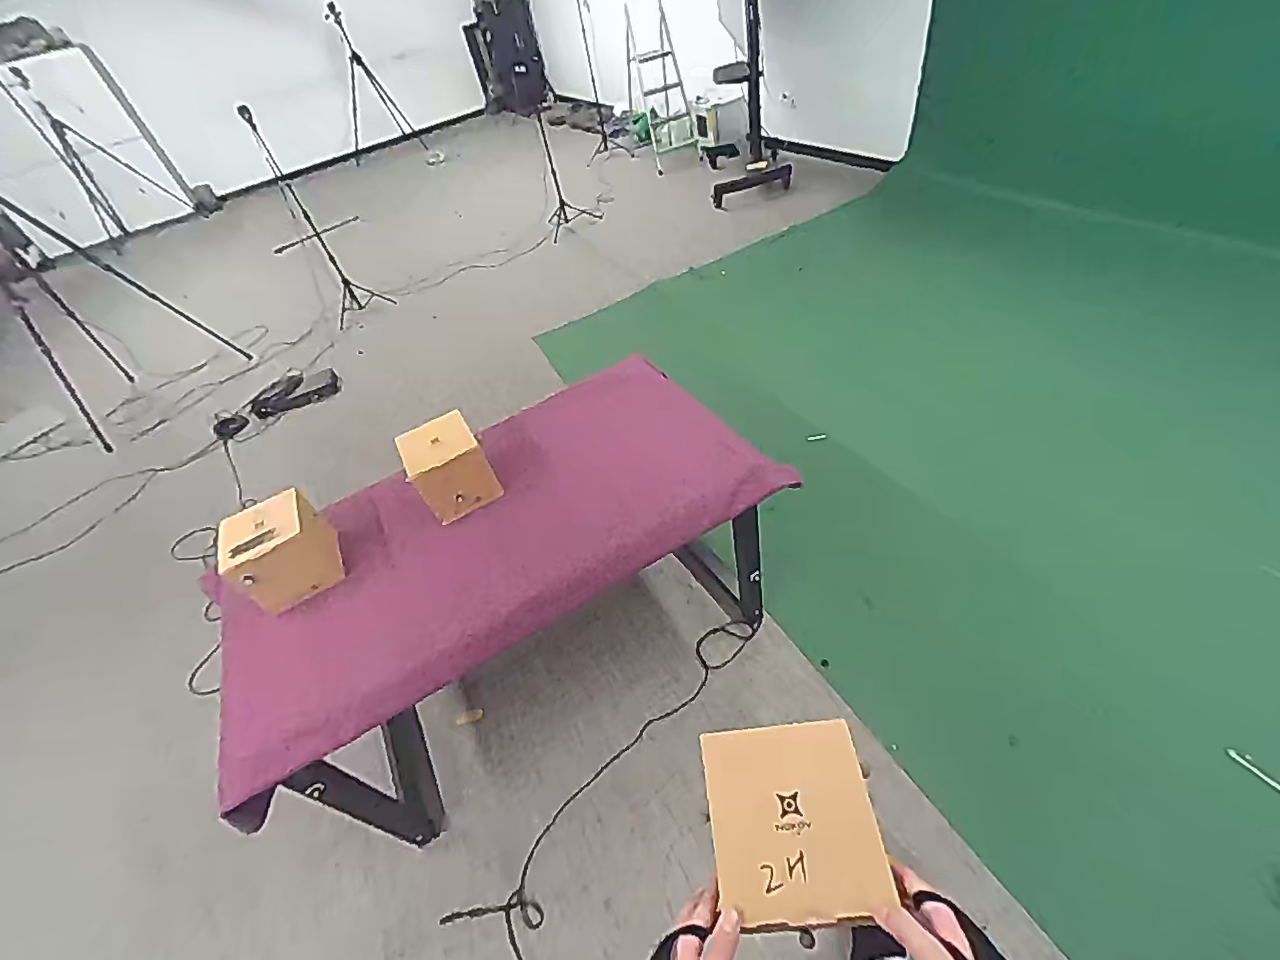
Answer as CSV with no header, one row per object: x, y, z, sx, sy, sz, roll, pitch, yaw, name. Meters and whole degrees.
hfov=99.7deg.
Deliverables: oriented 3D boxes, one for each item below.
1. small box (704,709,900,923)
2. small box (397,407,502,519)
0.167,0.383,0.614,0.168,0.176,0.179,-8,48,5,small box
-0.455,-0.039,1.301,0.168,0.176,0.179,-28,48,-14,small box
